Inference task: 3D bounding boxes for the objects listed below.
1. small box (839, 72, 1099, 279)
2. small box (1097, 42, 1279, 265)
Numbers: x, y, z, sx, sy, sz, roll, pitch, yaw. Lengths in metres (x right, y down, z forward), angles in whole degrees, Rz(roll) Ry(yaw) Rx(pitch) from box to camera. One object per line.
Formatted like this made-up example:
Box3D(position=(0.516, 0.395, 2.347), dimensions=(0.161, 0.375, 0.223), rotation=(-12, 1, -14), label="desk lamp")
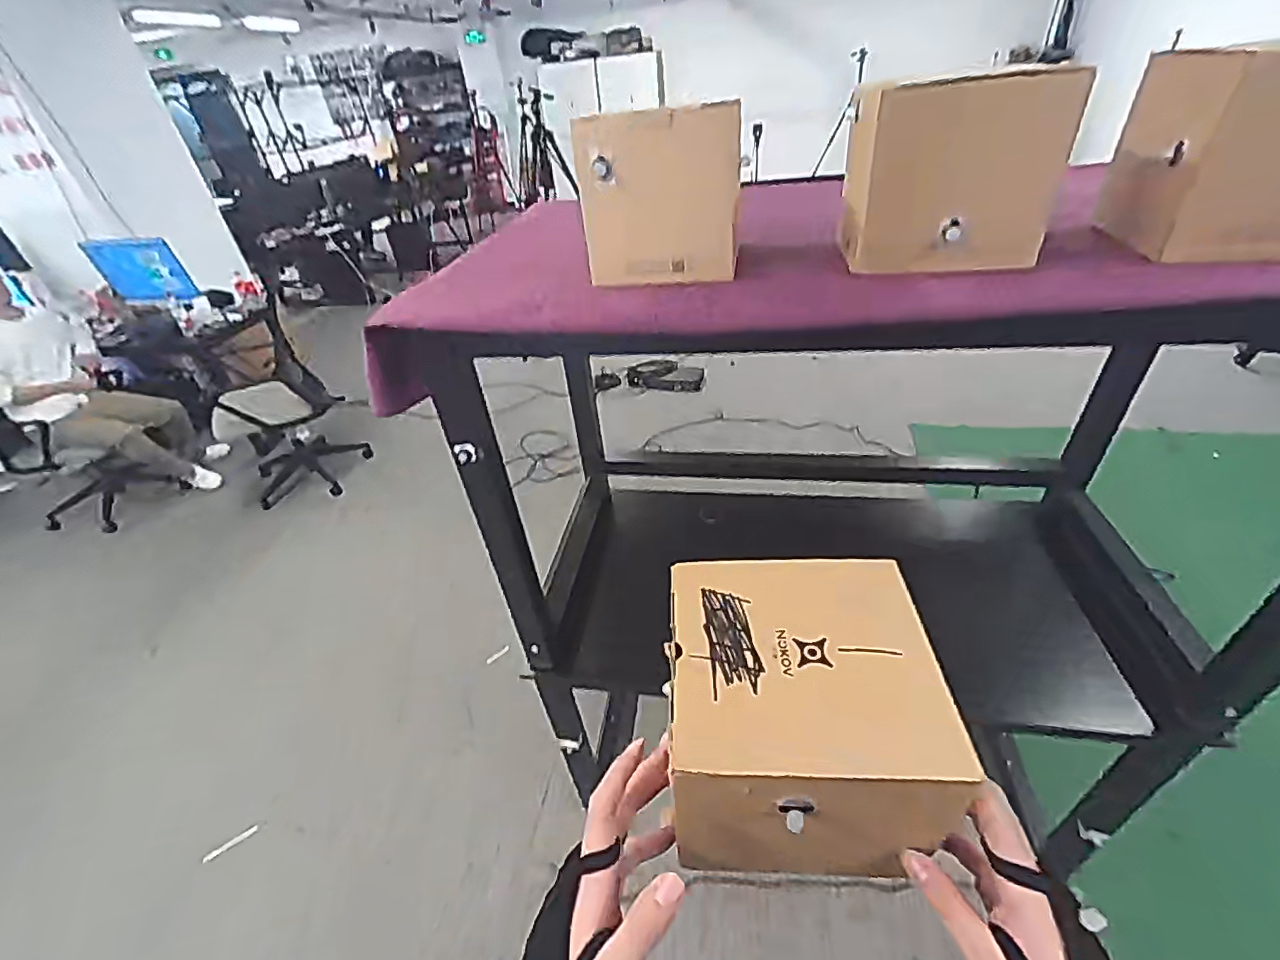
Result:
Box3D(position=(0.322, -0.322, 0.577), dimensions=(0.179, 0.176, 0.168), rotation=(2, 36, 11), label="small box")
Box3D(position=(0.596, -0.313, 0.521), dimensions=(0.168, 0.176, 0.179), rotation=(4, 38, 15), label="small box")
